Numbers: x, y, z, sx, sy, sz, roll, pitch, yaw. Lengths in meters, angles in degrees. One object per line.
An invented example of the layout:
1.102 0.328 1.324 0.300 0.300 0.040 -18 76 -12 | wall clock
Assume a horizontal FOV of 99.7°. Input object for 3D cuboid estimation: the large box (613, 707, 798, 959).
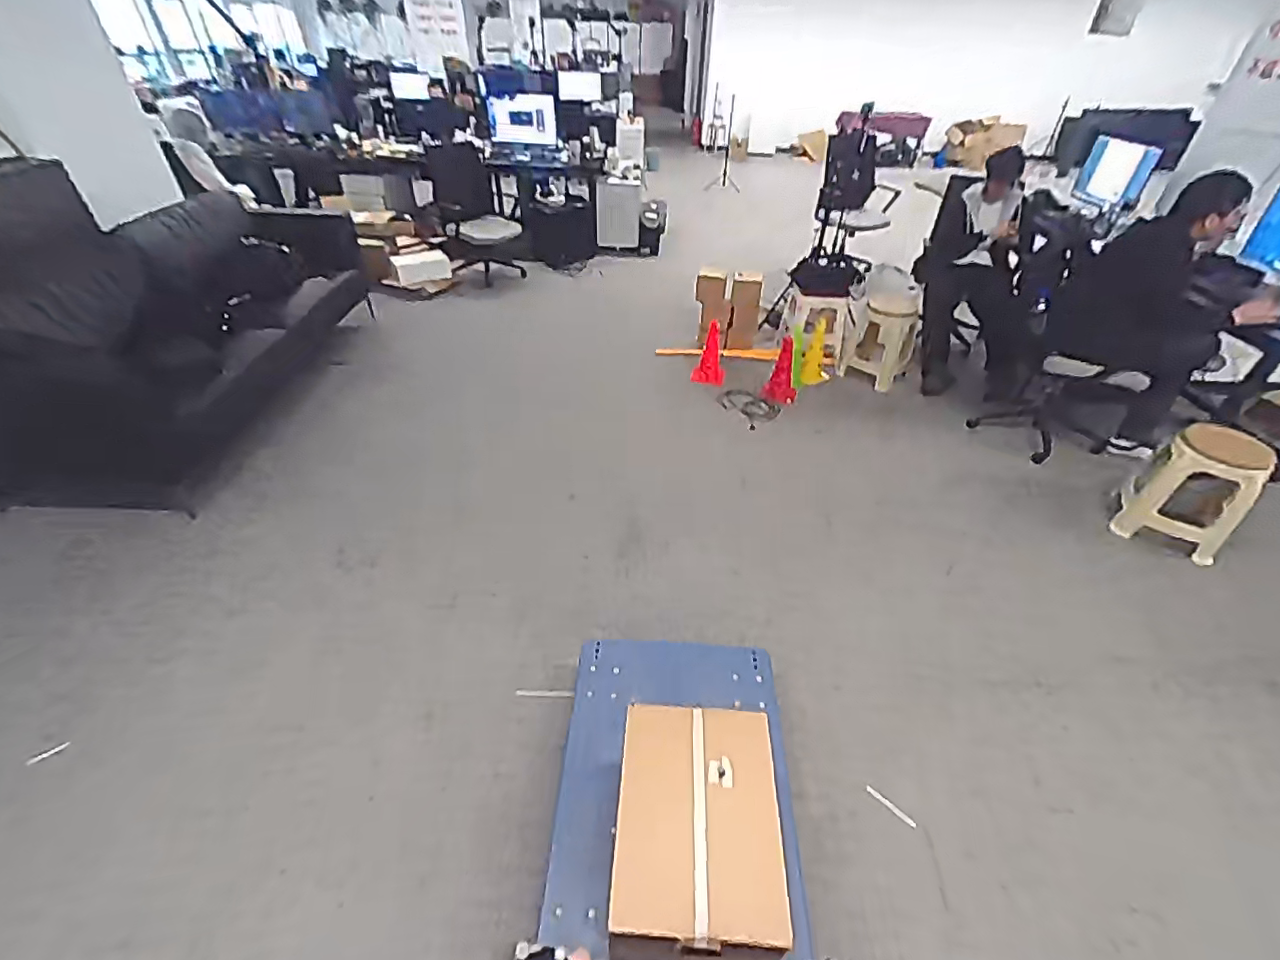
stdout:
0.116 0.751 1.133 0.320 0.320 0.408 4 39 2 | large box
